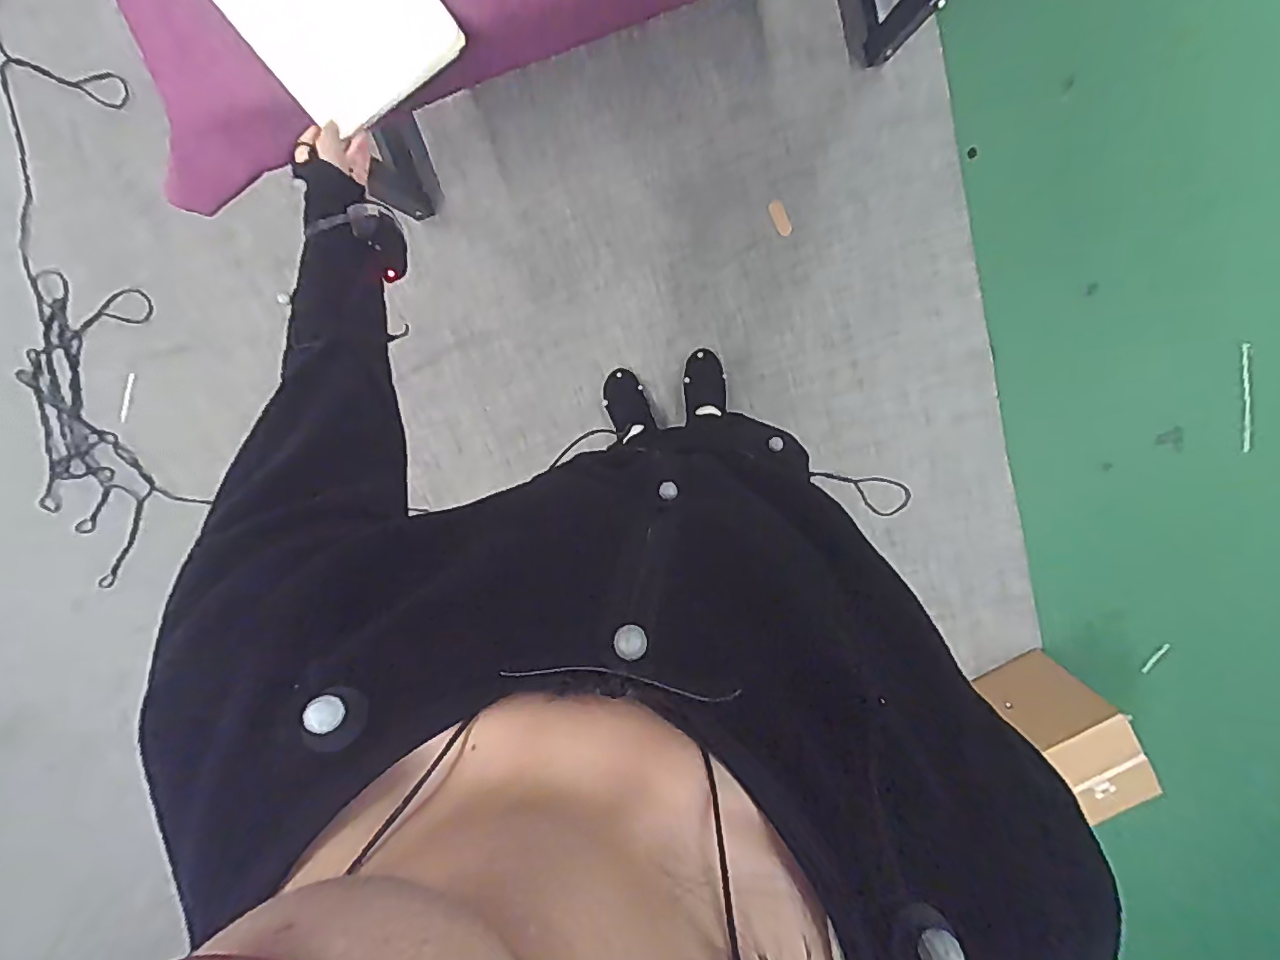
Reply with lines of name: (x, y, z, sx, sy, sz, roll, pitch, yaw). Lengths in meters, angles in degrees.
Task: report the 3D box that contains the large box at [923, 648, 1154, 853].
large box: (1.154, 0.786, 1.607, 0.408, 0.320, 0.320, -33, 104, 5)
